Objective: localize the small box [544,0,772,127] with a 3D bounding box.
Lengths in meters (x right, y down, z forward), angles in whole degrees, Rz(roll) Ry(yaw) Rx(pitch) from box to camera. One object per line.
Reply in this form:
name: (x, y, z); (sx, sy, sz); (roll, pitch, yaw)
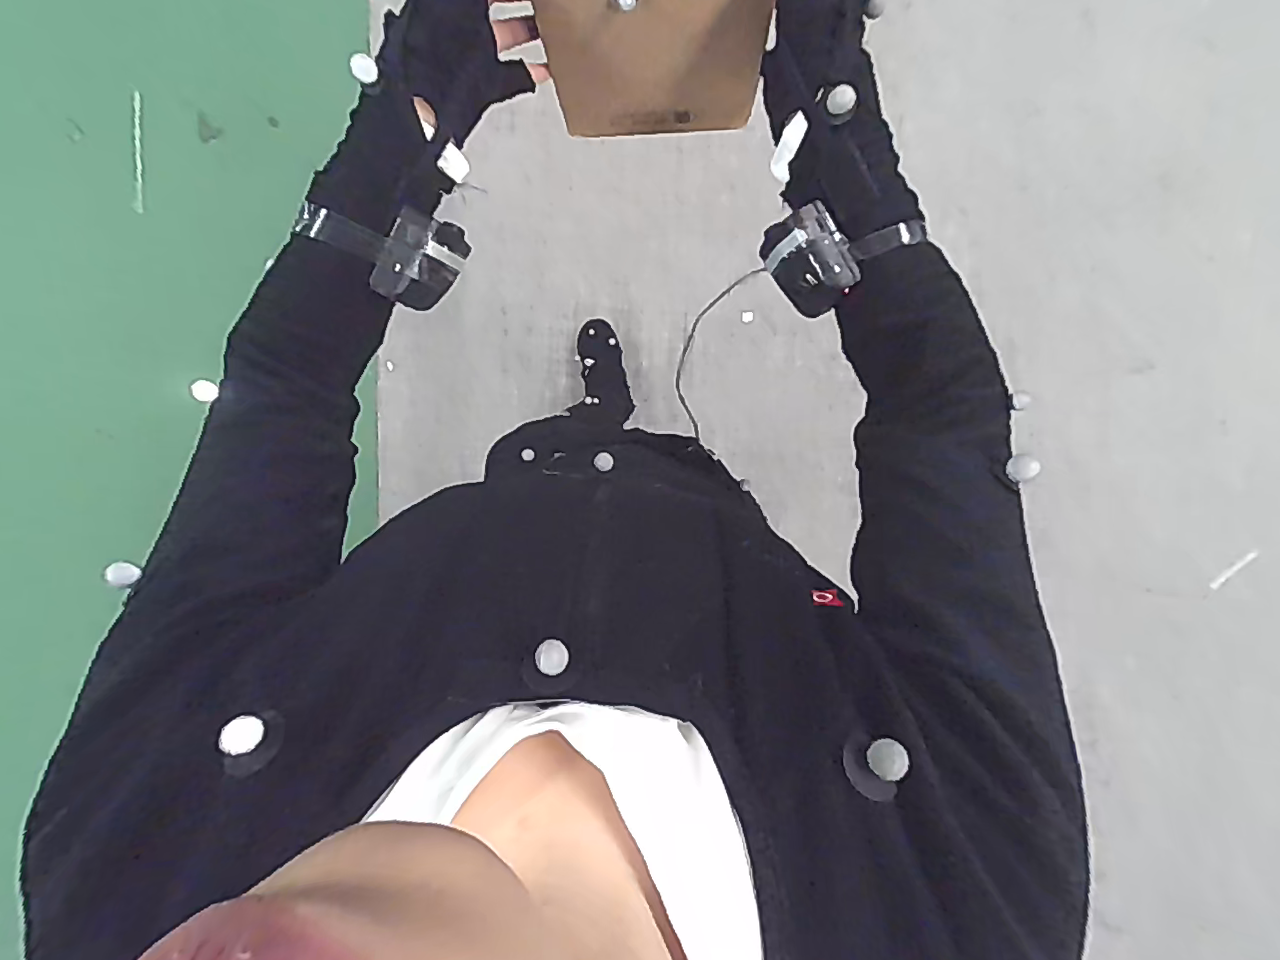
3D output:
small box: (0.012, -0.414, 0.416); (0.168, 0.176, 0.179); (-1, 87, 4)
